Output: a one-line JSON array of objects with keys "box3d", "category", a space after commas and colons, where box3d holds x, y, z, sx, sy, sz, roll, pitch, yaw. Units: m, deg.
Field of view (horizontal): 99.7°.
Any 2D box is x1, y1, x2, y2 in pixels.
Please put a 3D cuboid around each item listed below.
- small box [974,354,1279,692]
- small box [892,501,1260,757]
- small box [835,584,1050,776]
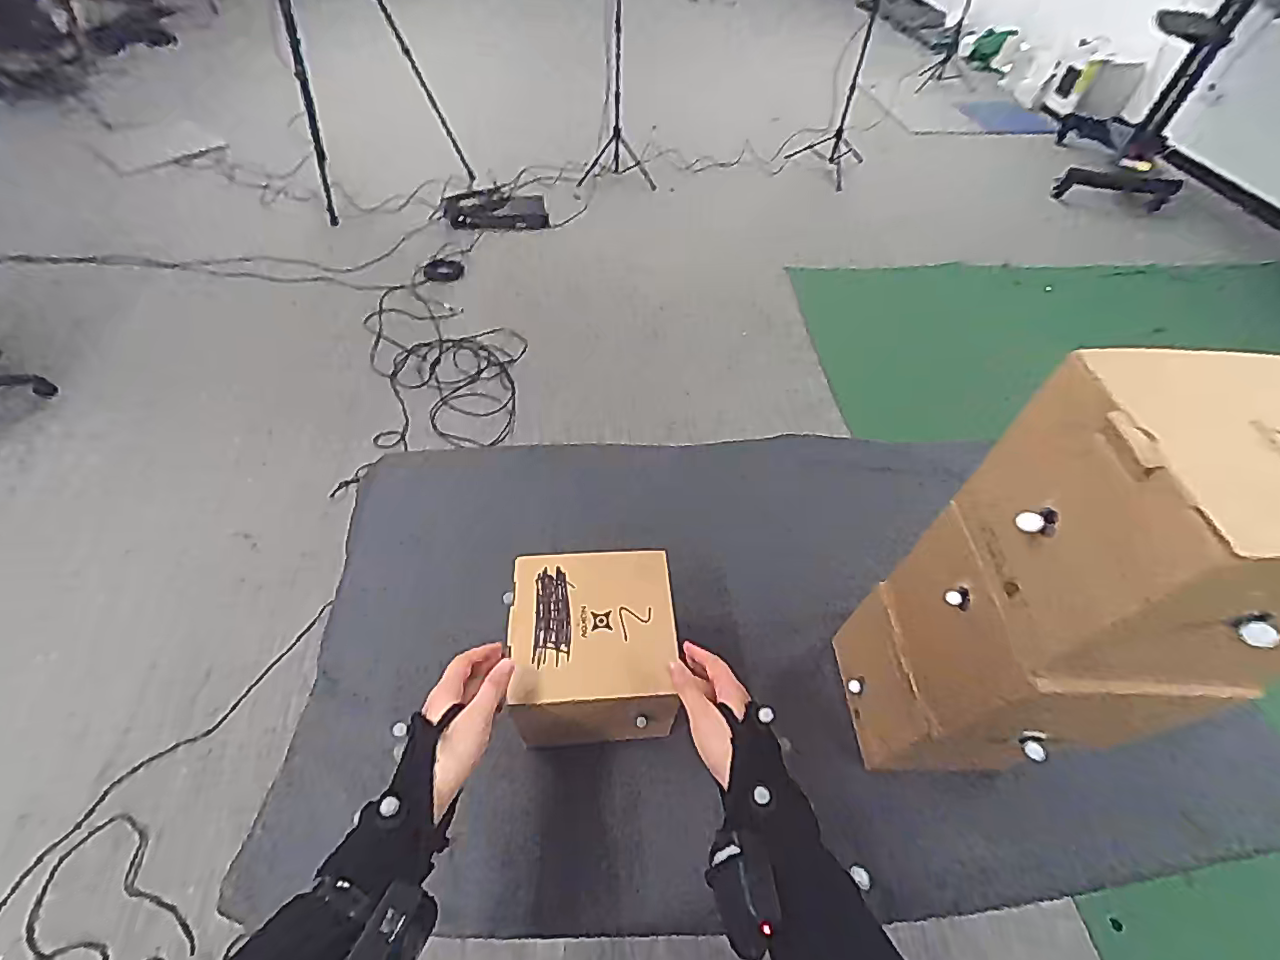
[{"box3d": [0.364, 0.034, 0.369, 0.179, 0.176, 0.168, 2, 51, 1], "category": "small box"}, {"box3d": [0.358, 0.138, 0.496, 0.168, 0.176, 0.179, 1, 52, 0], "category": "small box"}, {"box3d": [0.353, 0.234, 0.626, 0.179, 0.176, 0.168, 1, 51, -2], "category": "small box"}]
